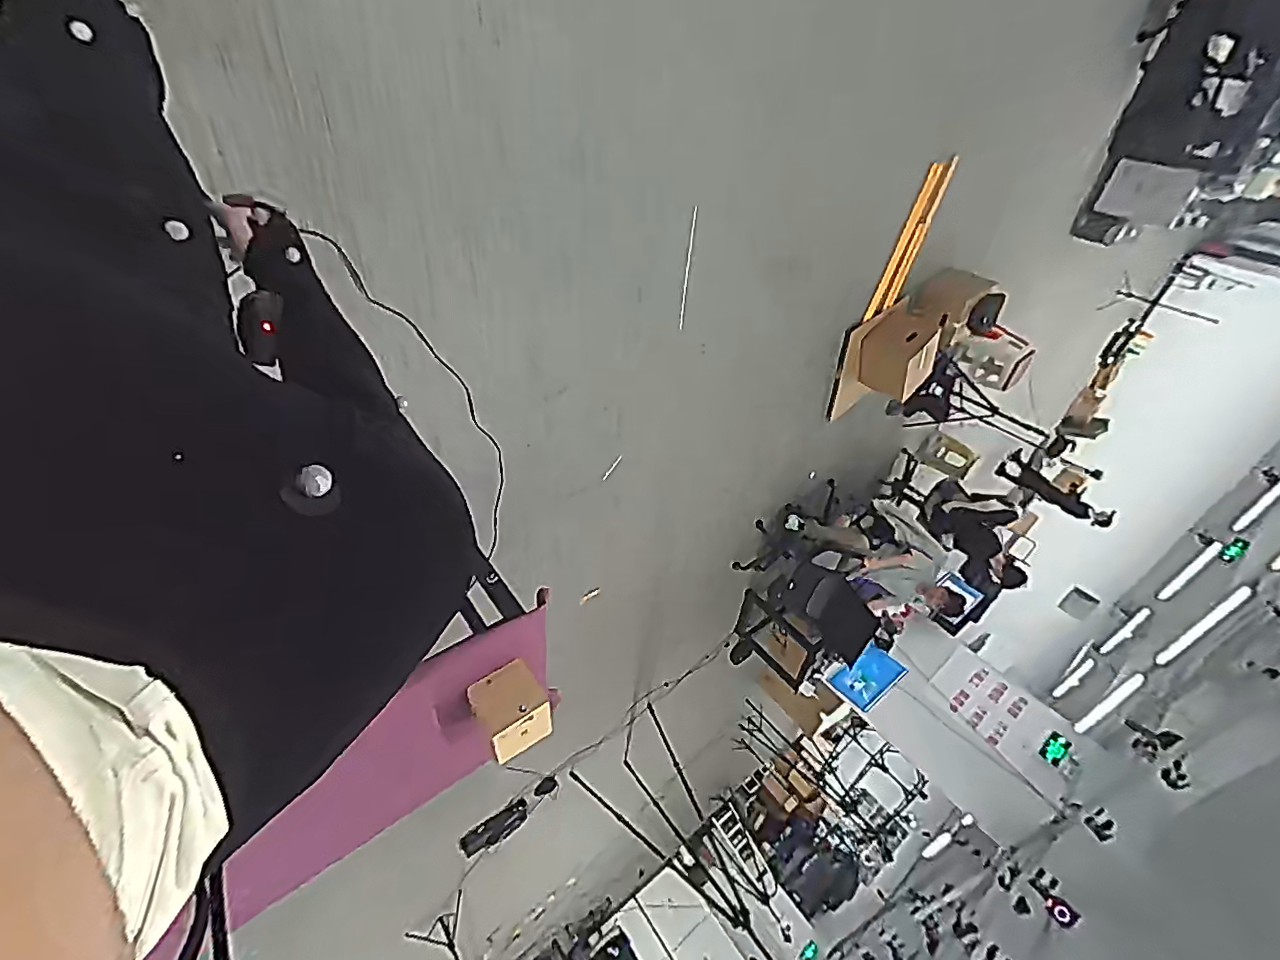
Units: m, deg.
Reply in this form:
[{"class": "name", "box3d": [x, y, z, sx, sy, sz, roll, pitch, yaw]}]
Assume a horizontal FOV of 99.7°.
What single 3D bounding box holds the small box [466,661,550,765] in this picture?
[{"class": "small box", "box3d": [-0.366, 0.644, 1.508, 0.168, 0.176, 0.179, -25, 139, -31]}]
